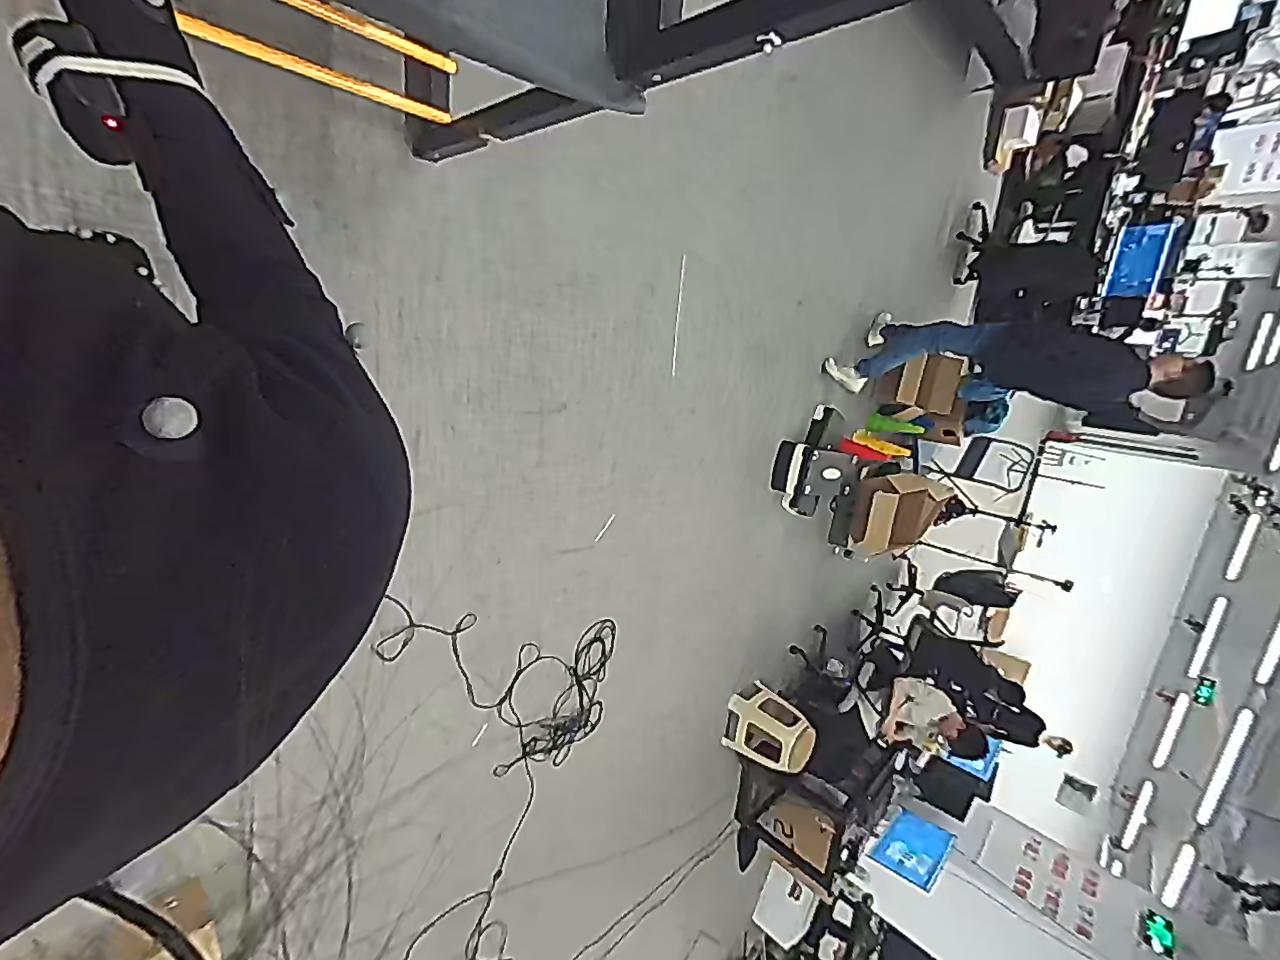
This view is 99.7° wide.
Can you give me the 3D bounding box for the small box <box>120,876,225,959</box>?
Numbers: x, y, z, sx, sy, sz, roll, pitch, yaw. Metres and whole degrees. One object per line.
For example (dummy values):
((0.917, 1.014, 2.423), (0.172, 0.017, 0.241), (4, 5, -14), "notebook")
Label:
((-1.139, 1.134, 1.321), (0.168, 0.176, 0.179), (-14, 112, -46), "small box")
